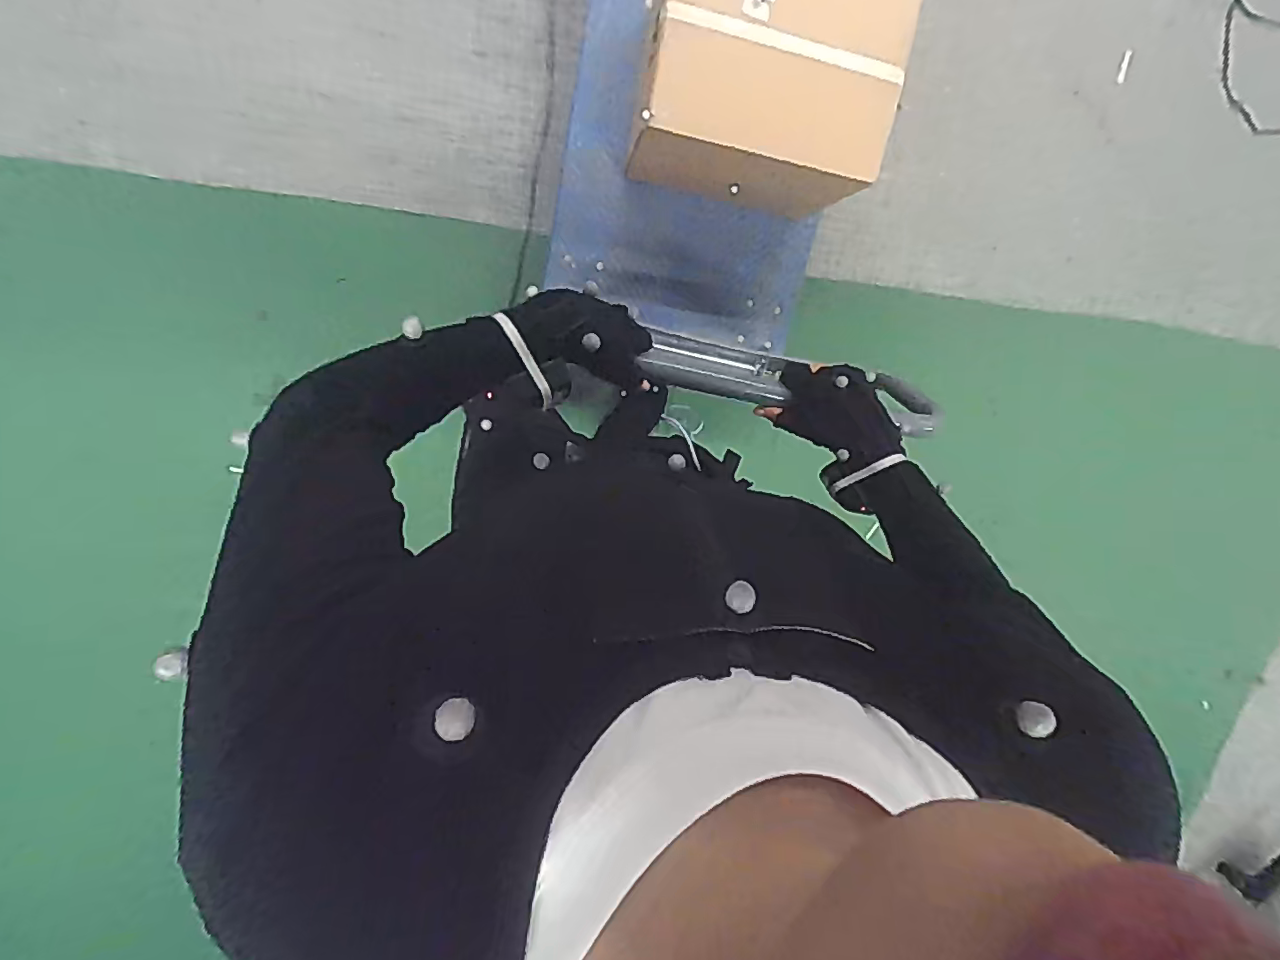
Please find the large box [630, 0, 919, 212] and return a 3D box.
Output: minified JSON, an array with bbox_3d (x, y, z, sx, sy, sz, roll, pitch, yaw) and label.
[{"bbox_3d":[0.216,-0.722,0.999,0.408,0.320,0.320,8,103,-10],"label":"large box"}]
